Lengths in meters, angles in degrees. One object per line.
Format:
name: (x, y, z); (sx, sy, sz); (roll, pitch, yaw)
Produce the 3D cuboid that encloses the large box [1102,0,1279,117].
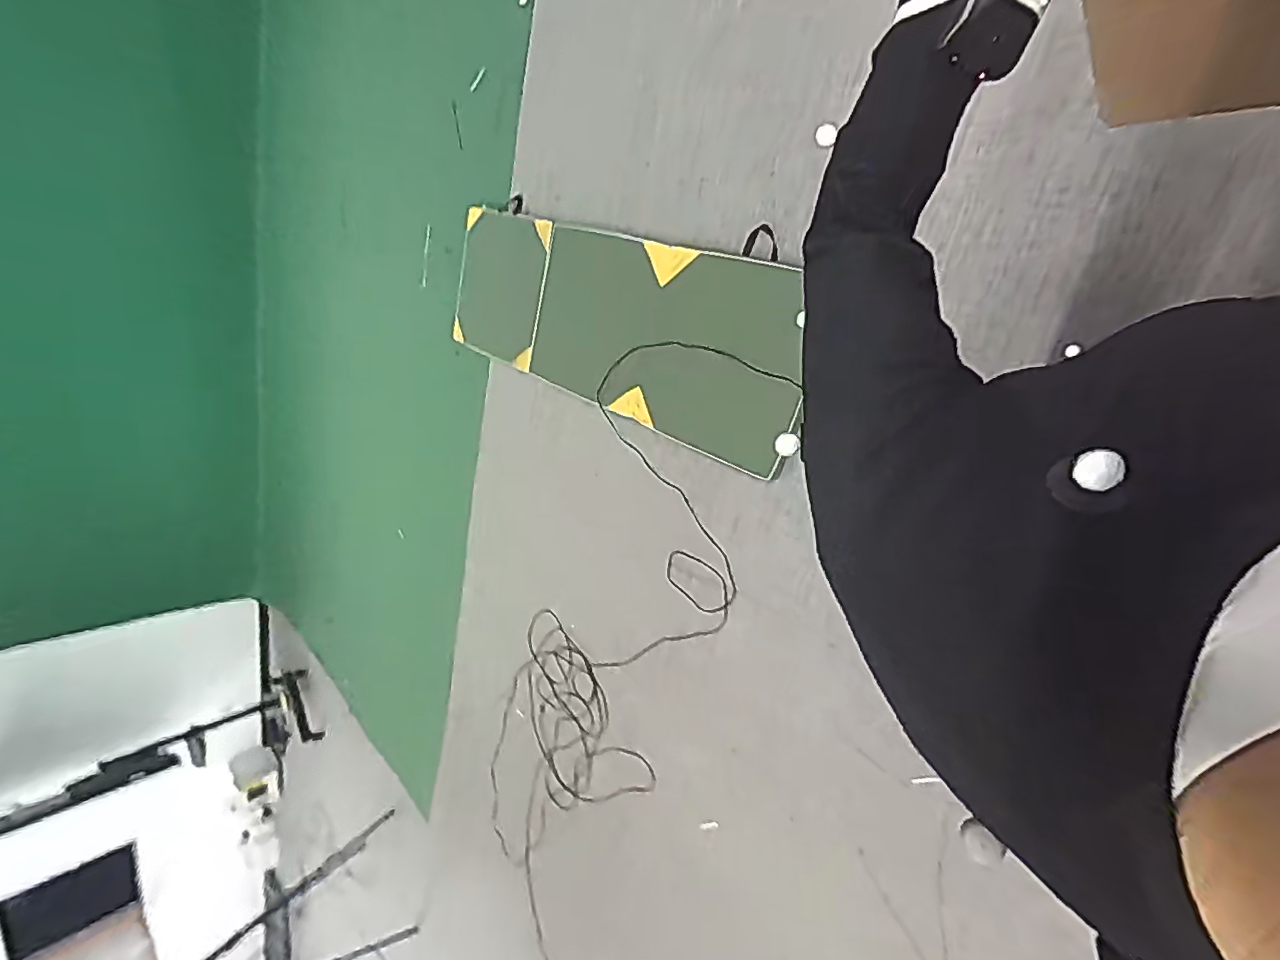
large box: (0.523, -0.443, 0.271); (0.408, 0.320, 0.320); (16, 110, 38)
